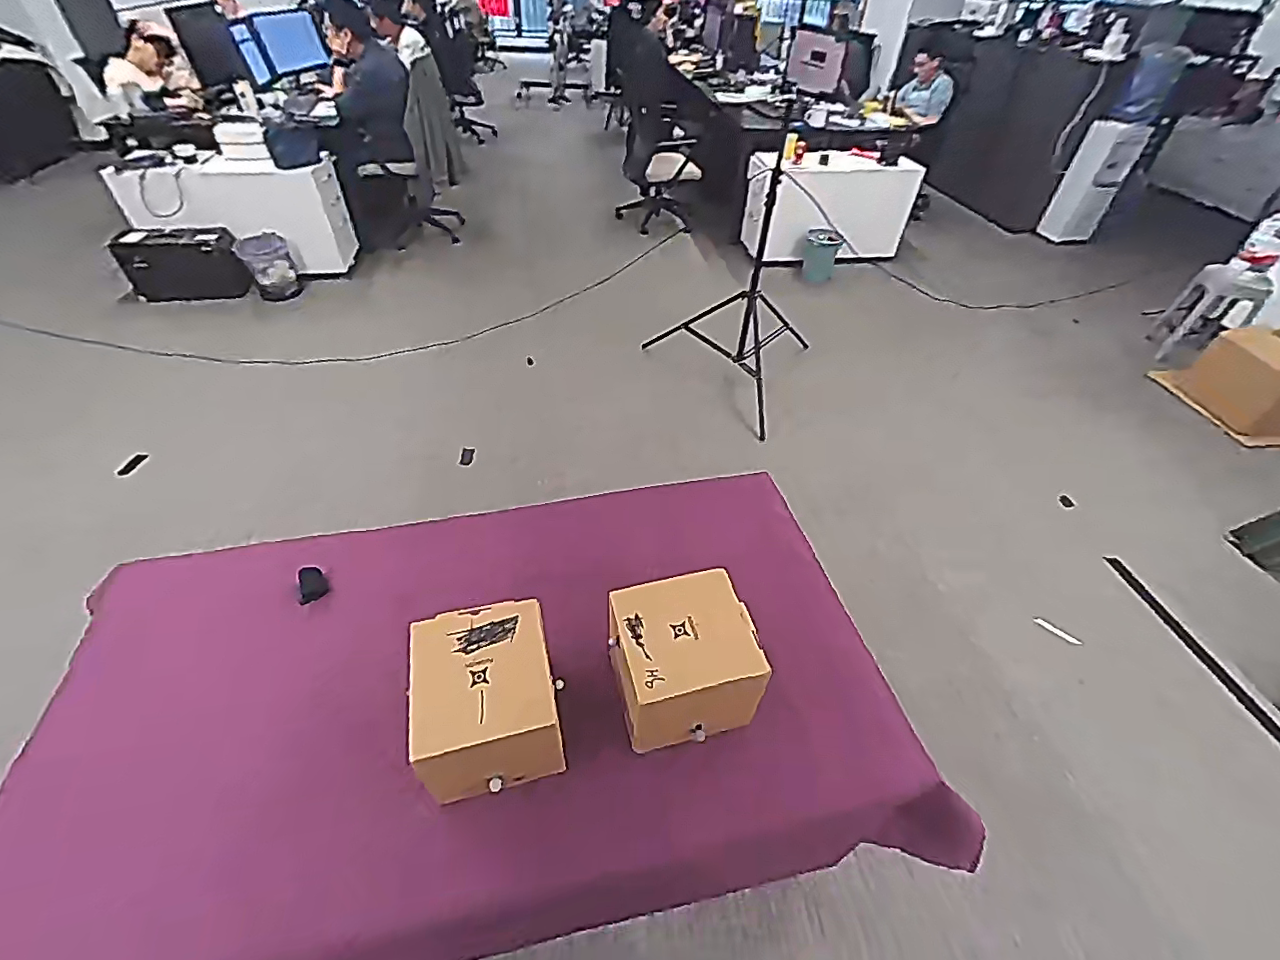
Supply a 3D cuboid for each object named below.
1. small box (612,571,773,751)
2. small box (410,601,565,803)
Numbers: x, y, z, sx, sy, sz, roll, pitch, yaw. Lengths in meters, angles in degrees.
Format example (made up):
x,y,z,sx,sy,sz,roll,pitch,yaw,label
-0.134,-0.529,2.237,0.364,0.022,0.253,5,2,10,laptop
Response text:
x,y,z,sx,sy,sz,roll,pitch,yaw,label
0.060,0.256,0.767,0.179,0.176,0.168,-9,45,-12,small box
-0.196,0.291,0.716,0.168,0.176,0.179,-10,46,-12,small box
